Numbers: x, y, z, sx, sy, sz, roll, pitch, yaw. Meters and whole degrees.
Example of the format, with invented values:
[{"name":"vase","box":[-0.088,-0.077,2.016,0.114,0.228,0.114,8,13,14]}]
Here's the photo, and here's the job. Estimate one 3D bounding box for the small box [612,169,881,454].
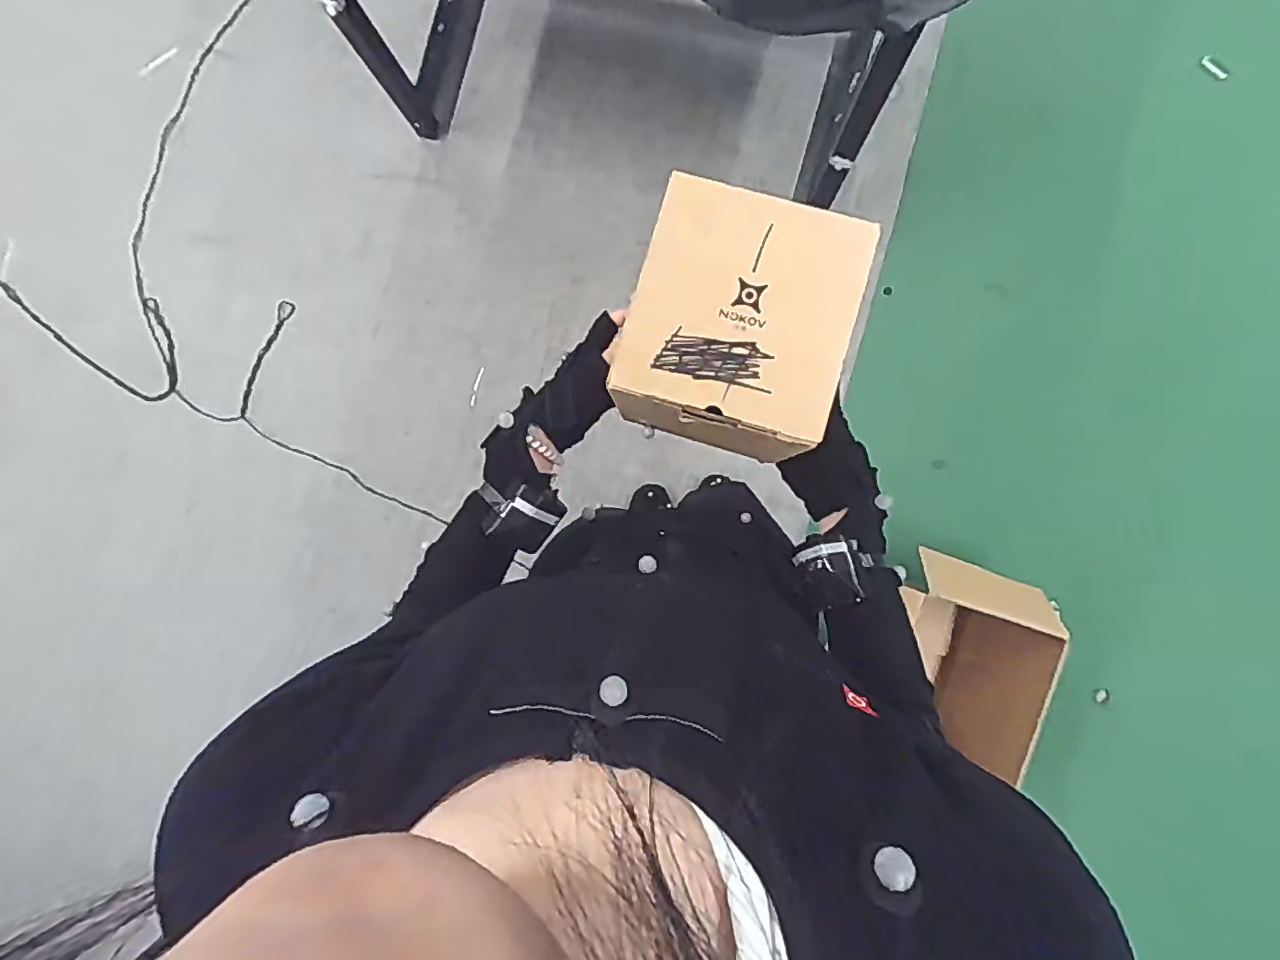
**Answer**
[{"name":"small box","box":[0.083,-0.130,0.488,0.168,0.176,0.179,17,88,2]}]
